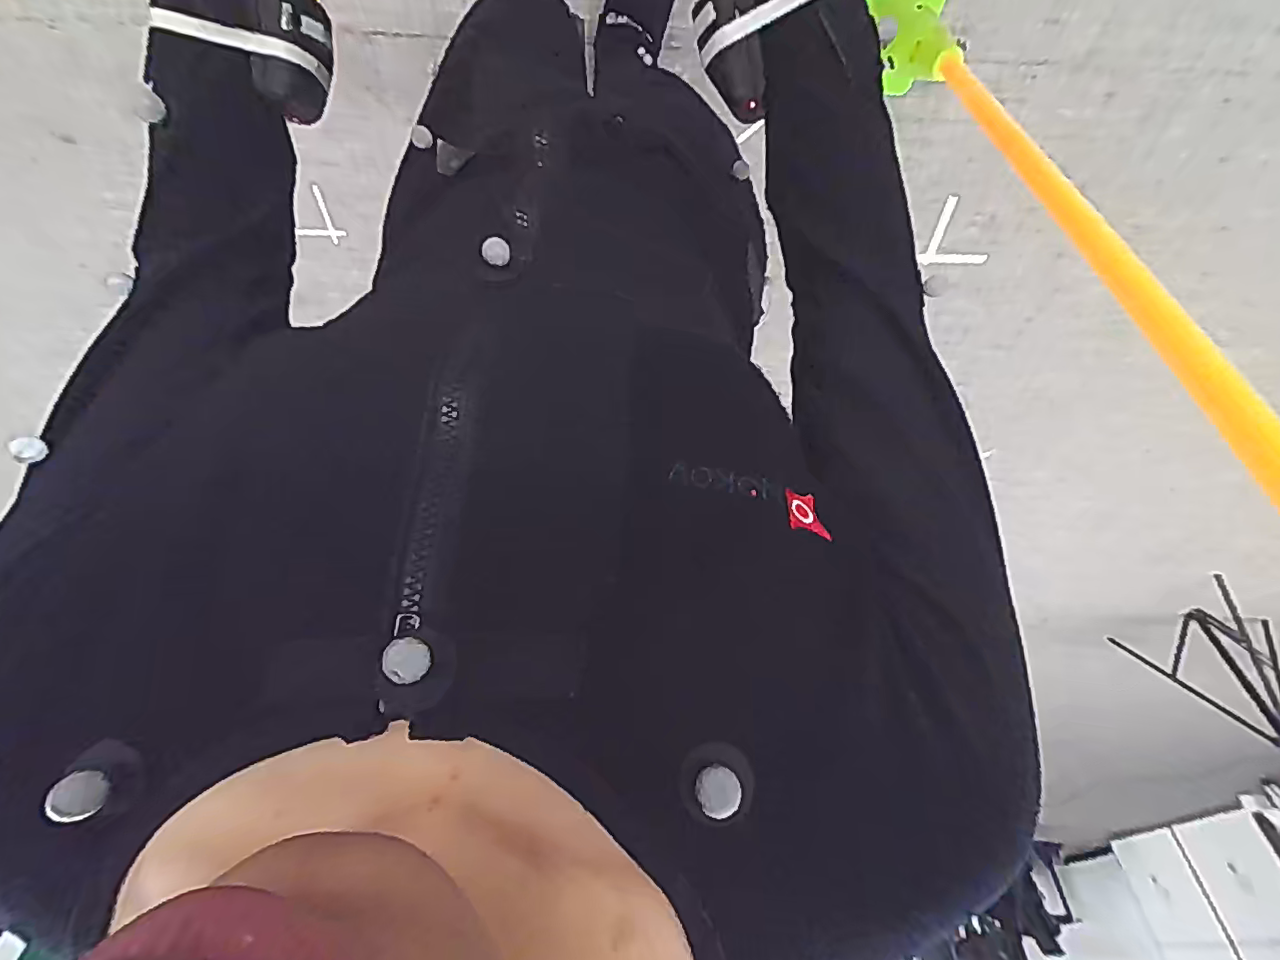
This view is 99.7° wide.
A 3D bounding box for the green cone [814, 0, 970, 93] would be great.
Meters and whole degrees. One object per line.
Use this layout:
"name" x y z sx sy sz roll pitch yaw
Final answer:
"green cone" 0.443 -0.718 0.885 0.202 0.368 0.200 4 138 -4
